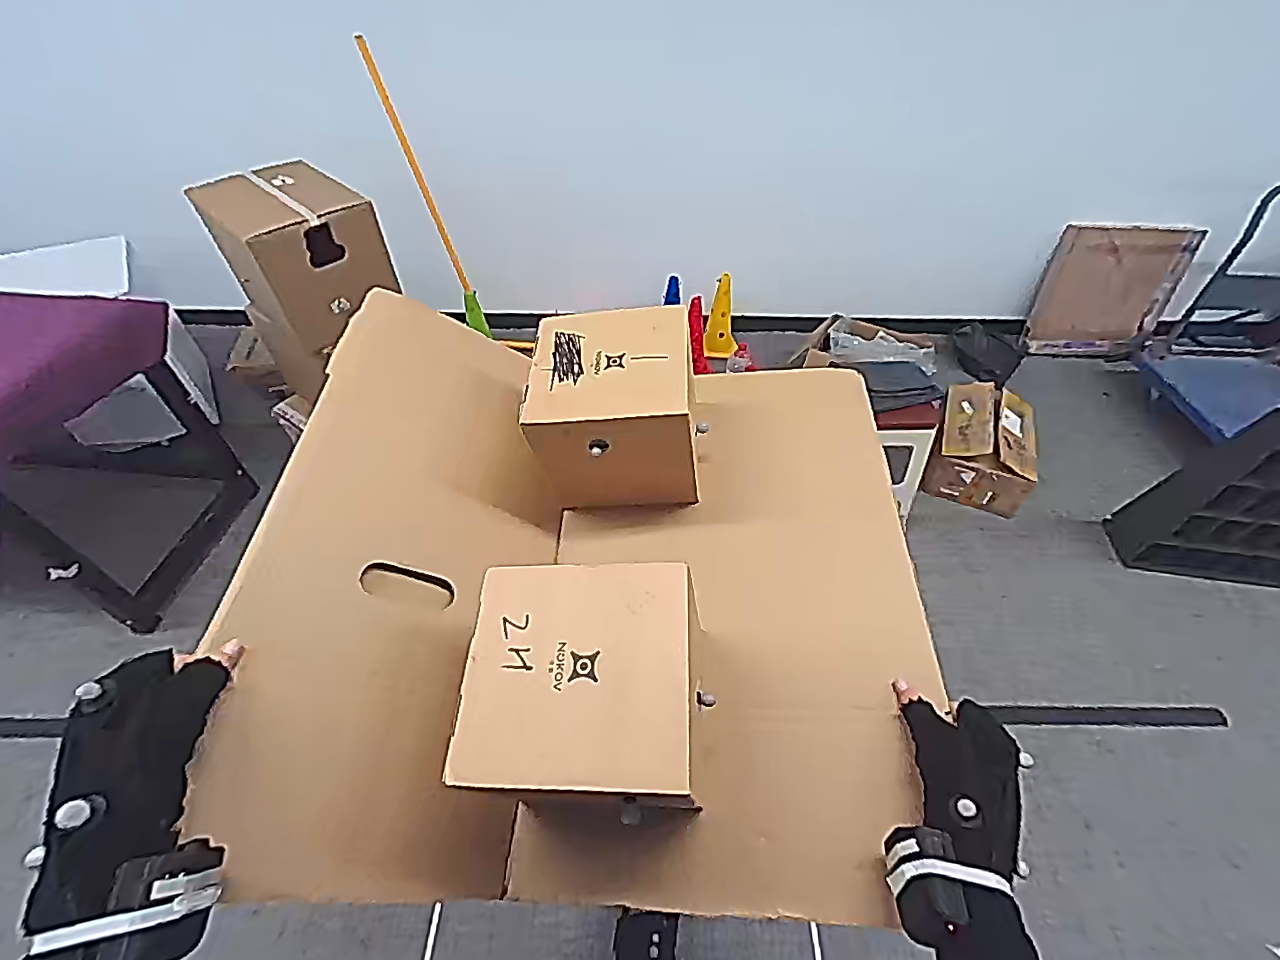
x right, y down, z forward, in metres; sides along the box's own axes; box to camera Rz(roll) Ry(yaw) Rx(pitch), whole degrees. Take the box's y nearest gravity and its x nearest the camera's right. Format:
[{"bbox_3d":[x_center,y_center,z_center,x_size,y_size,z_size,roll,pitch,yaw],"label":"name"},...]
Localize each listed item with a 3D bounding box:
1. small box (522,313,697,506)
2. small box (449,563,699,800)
[{"bbox_3d":[-0.024,-0.078,0.663,0.179,0.176,0.168,-2,56,8],"label":"small box"},{"bbox_3d":[-0.037,0.185,0.486,0.179,0.176,0.168,-2,56,9],"label":"small box"}]
